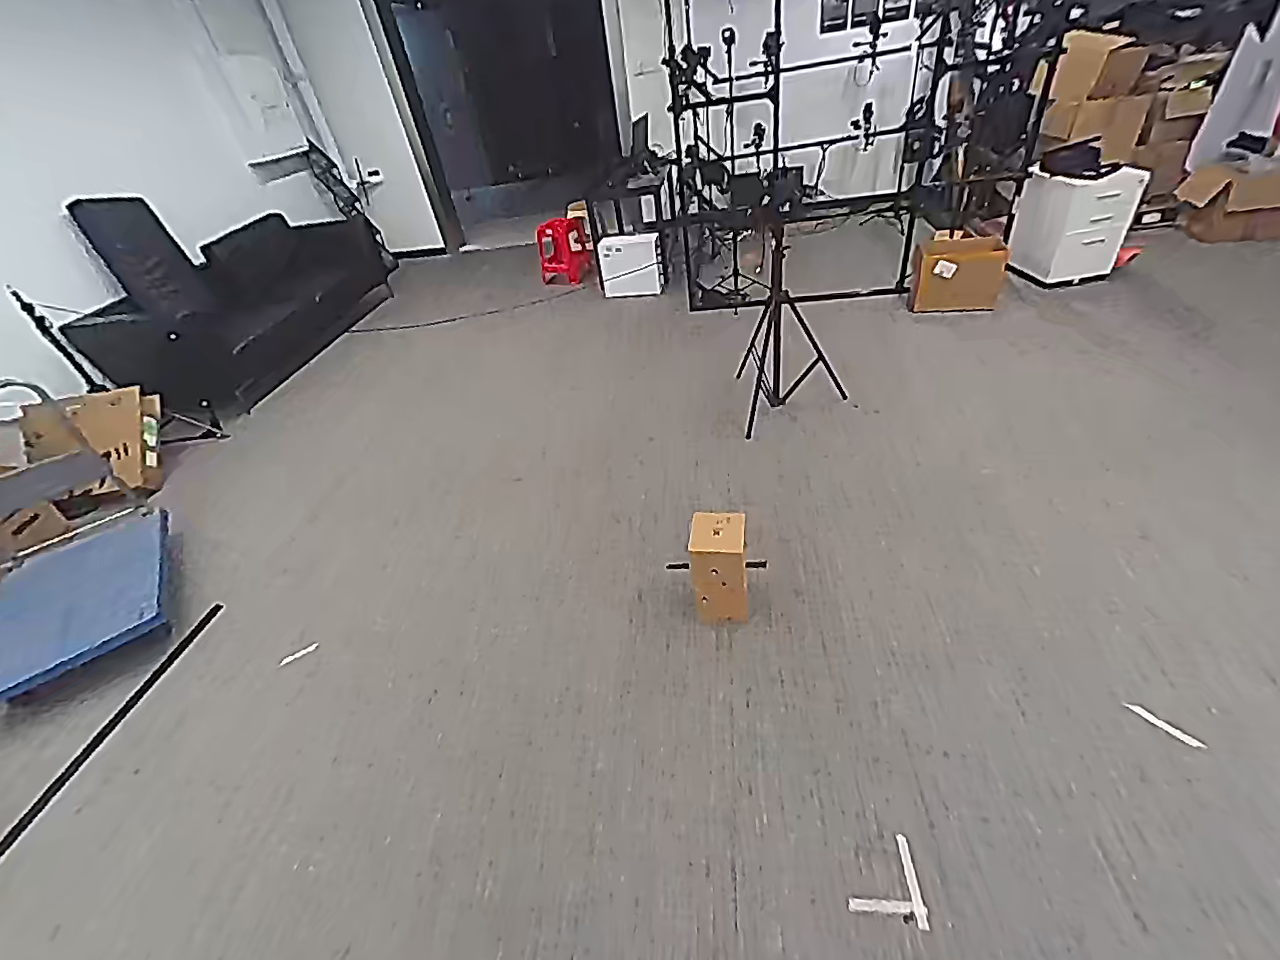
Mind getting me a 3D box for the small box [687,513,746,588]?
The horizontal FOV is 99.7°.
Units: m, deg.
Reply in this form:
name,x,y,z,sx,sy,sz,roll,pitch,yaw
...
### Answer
name,x,y,z,sx,sy,sz,roll,pitch,yaw
small box,0.246,0.224,1.707,0.168,0.176,0.179,1,38,14
